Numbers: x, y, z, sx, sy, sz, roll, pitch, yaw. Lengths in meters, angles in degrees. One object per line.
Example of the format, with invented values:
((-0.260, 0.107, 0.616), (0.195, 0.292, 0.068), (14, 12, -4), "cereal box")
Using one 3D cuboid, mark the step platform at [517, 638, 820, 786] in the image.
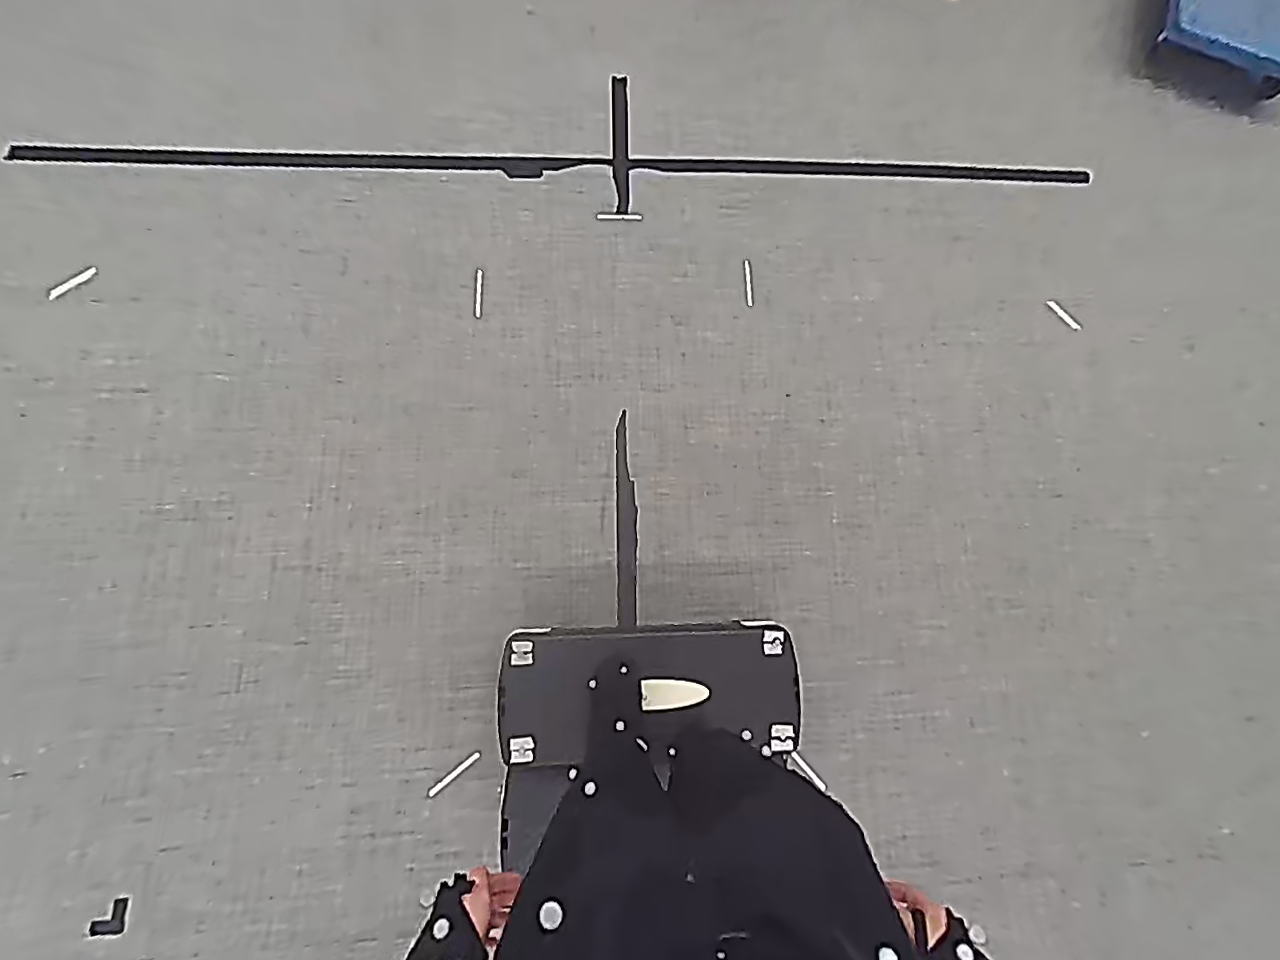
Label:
((0.063, 0.528, 1.255), (0.684, 0.204, 0.286), (4, 75, -4), "step platform")
